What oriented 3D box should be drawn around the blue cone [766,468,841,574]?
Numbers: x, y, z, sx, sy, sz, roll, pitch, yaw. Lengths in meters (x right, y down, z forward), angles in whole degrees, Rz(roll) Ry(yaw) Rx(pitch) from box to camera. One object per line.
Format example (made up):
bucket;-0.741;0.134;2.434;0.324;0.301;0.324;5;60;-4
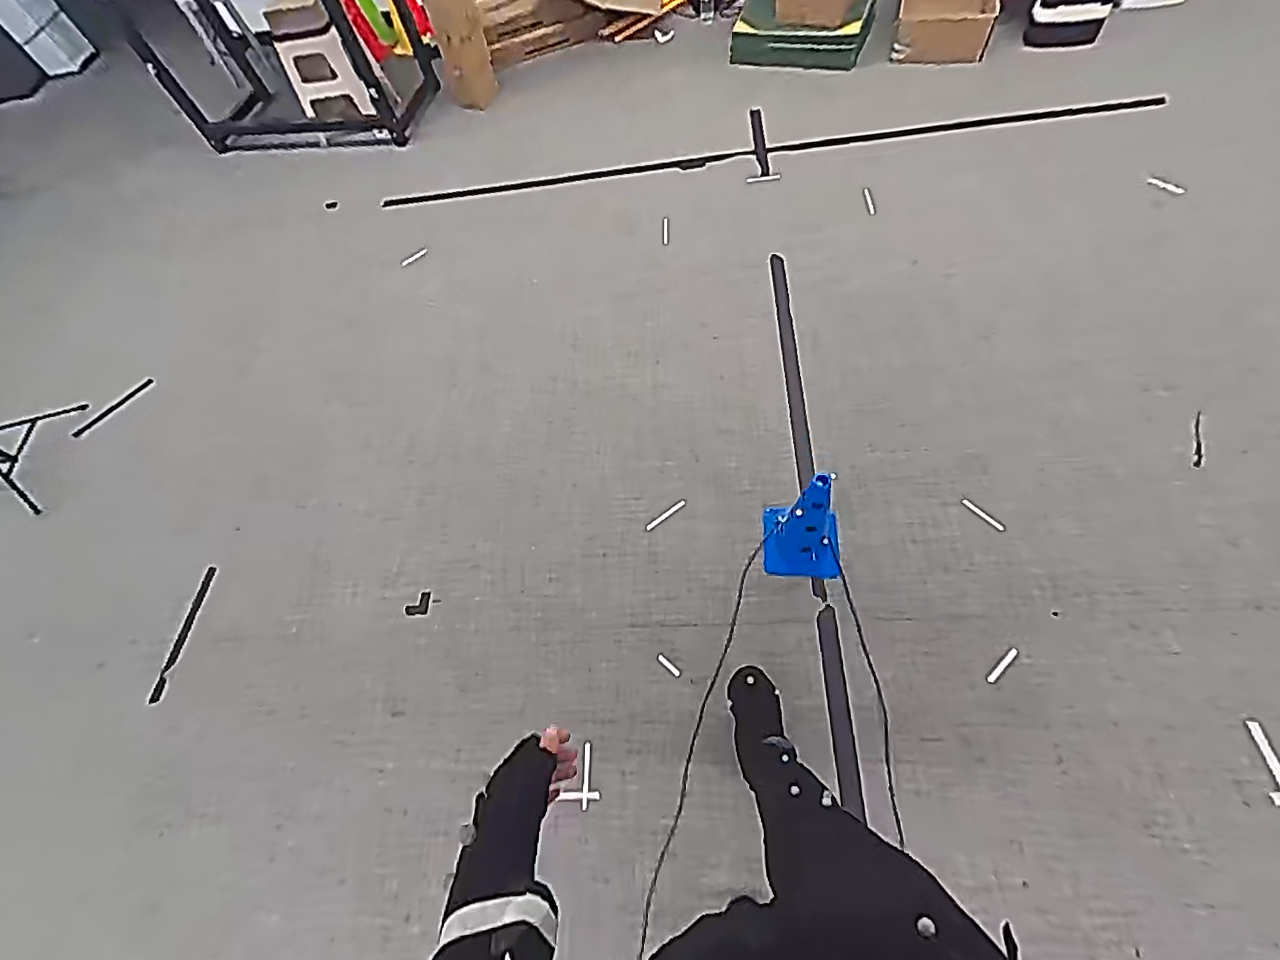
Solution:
blue cone;0.418;0.086;1.320;0.193;0.380;0.192;-1;62;9
